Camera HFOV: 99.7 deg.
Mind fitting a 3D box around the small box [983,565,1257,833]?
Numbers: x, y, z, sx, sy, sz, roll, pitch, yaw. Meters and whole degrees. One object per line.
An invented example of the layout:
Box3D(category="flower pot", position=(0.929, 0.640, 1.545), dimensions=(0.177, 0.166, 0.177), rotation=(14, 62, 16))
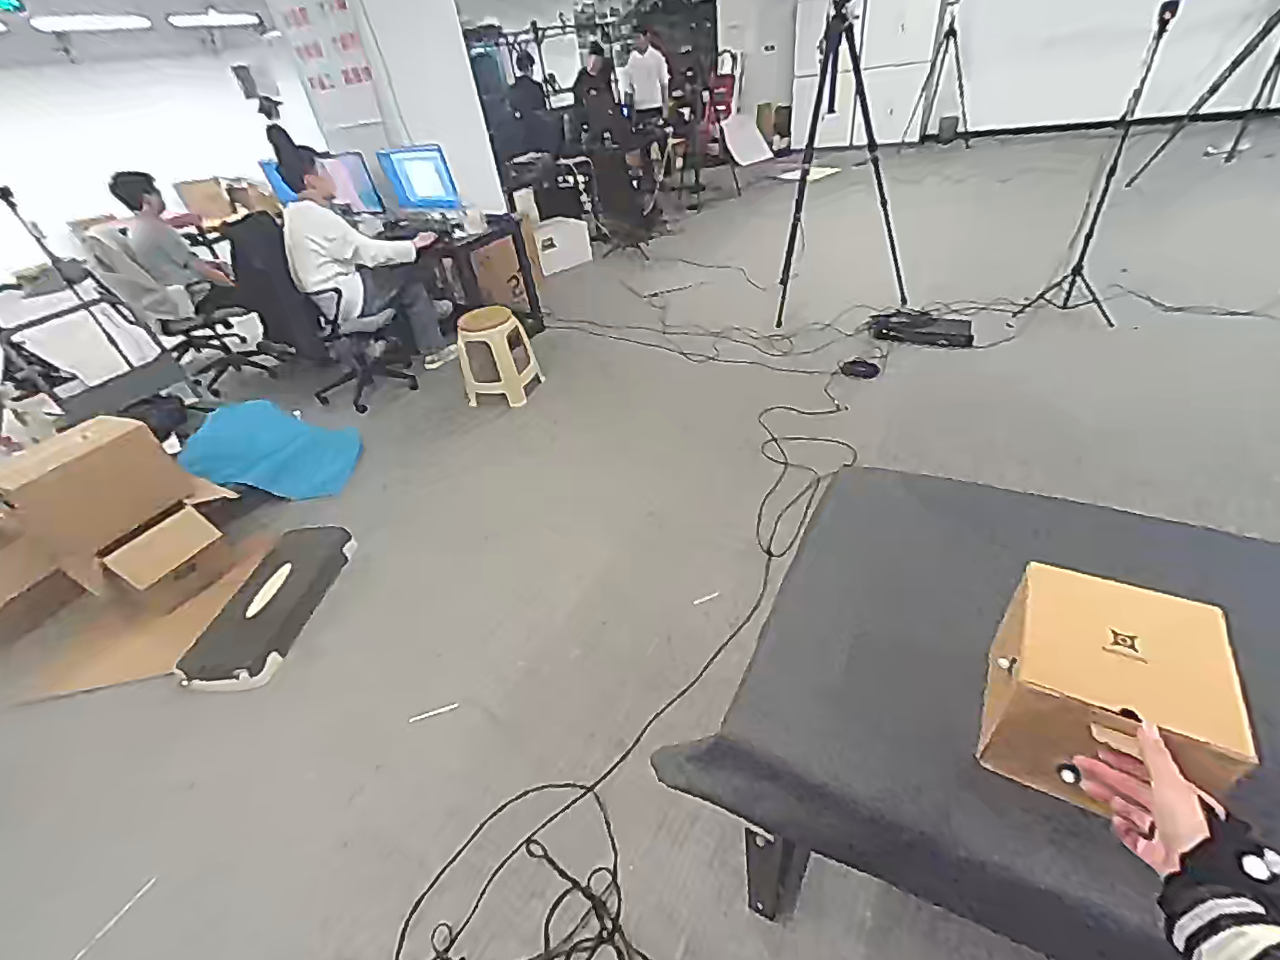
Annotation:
Box3D(category="small box", position=(0.492, 0.230, 0.586), dimensions=(0.168, 0.176, 0.179), rotation=(15, 43, 28))
